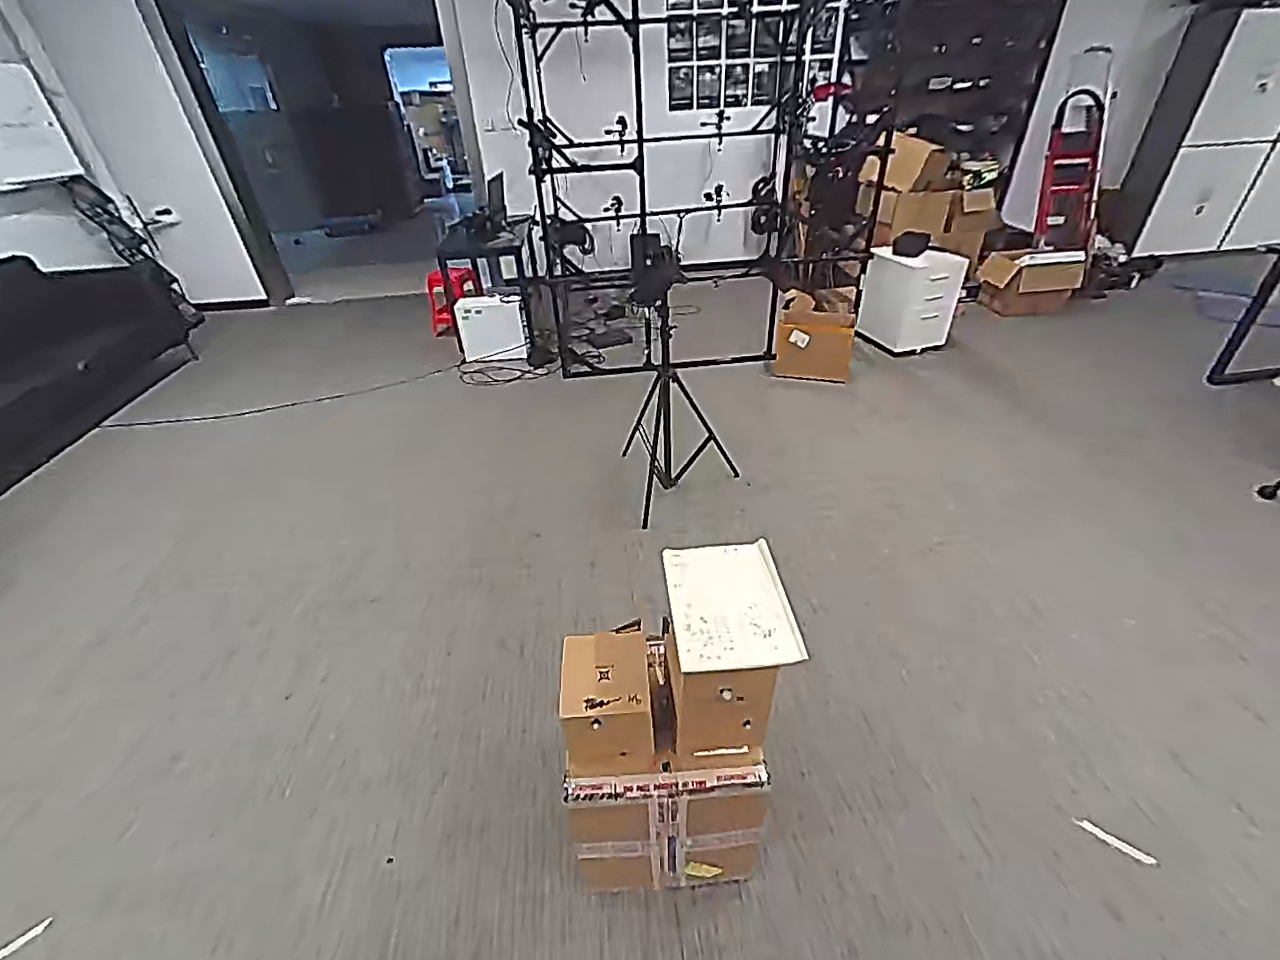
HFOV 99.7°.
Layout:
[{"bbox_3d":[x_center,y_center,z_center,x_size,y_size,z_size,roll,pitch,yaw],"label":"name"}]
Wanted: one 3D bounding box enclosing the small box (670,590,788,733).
[{"bbox_3d":[0.145,0.318,0.956,0.168,0.176,0.179,-3,37,-3],"label":"small box"}]
